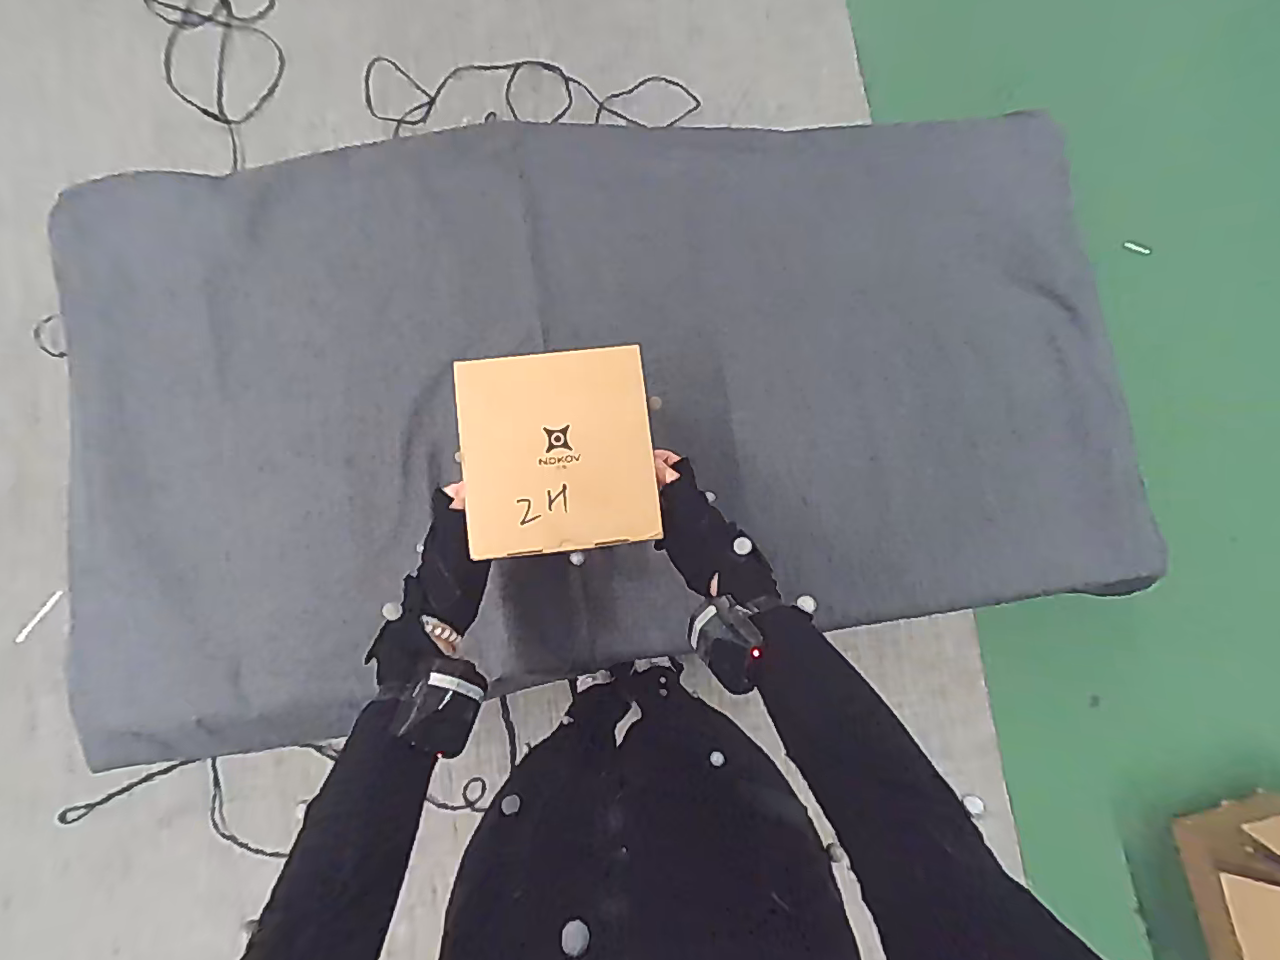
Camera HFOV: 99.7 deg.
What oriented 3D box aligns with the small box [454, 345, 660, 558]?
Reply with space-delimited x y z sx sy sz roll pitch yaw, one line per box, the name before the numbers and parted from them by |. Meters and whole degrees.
small box | -0.078 -0.018 0.547 0.168 0.176 0.179 -7 84 -4
